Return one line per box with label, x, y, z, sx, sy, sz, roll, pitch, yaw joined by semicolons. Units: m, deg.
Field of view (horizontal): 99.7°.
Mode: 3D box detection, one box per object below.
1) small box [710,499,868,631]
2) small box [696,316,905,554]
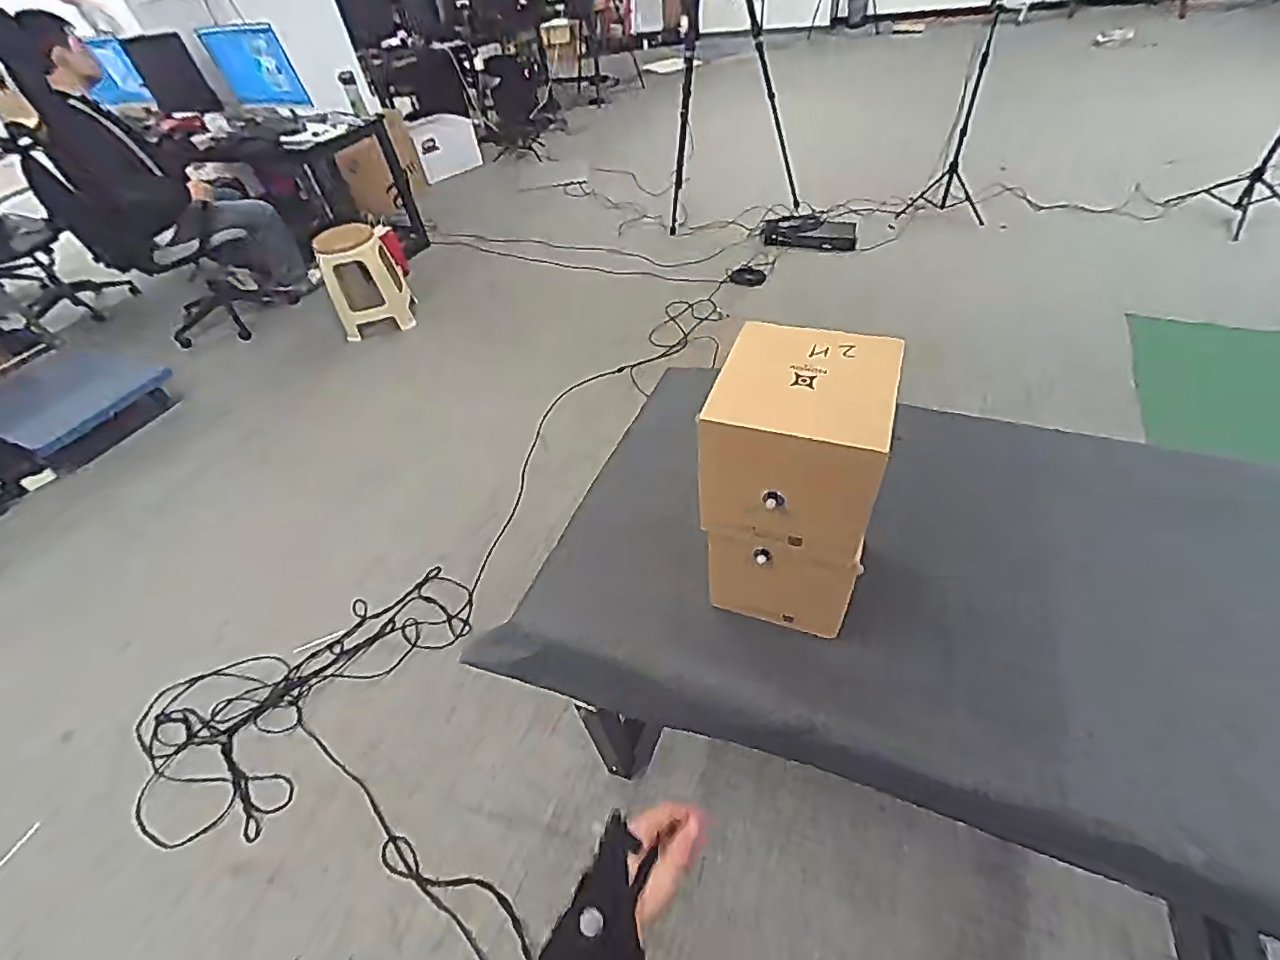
small box;0.191;0.062;0.699;0.168;0.176;0.179;13;49;19
small box;0.167;-0.048;0.577;0.168;0.176;0.179;14;50;18
